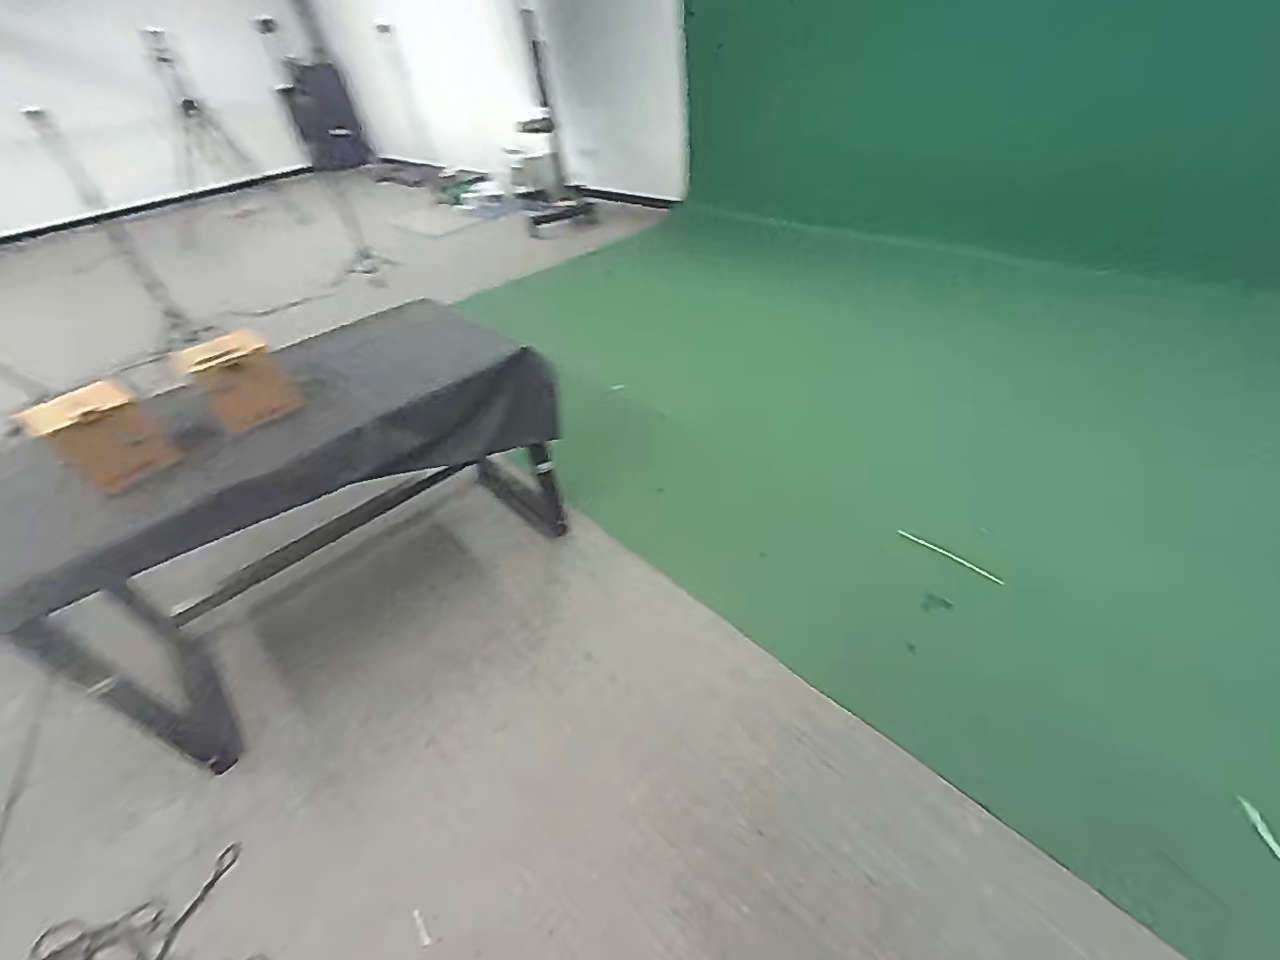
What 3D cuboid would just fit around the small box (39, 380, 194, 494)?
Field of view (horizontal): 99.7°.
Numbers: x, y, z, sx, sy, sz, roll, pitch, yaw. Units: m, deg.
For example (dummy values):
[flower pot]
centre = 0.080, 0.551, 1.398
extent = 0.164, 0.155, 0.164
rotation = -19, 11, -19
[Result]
[small box]
centre = -1.132, -0.092, 1.181
extent = 0.179, 0.176, 0.168
rotation = 20, 46, 31
